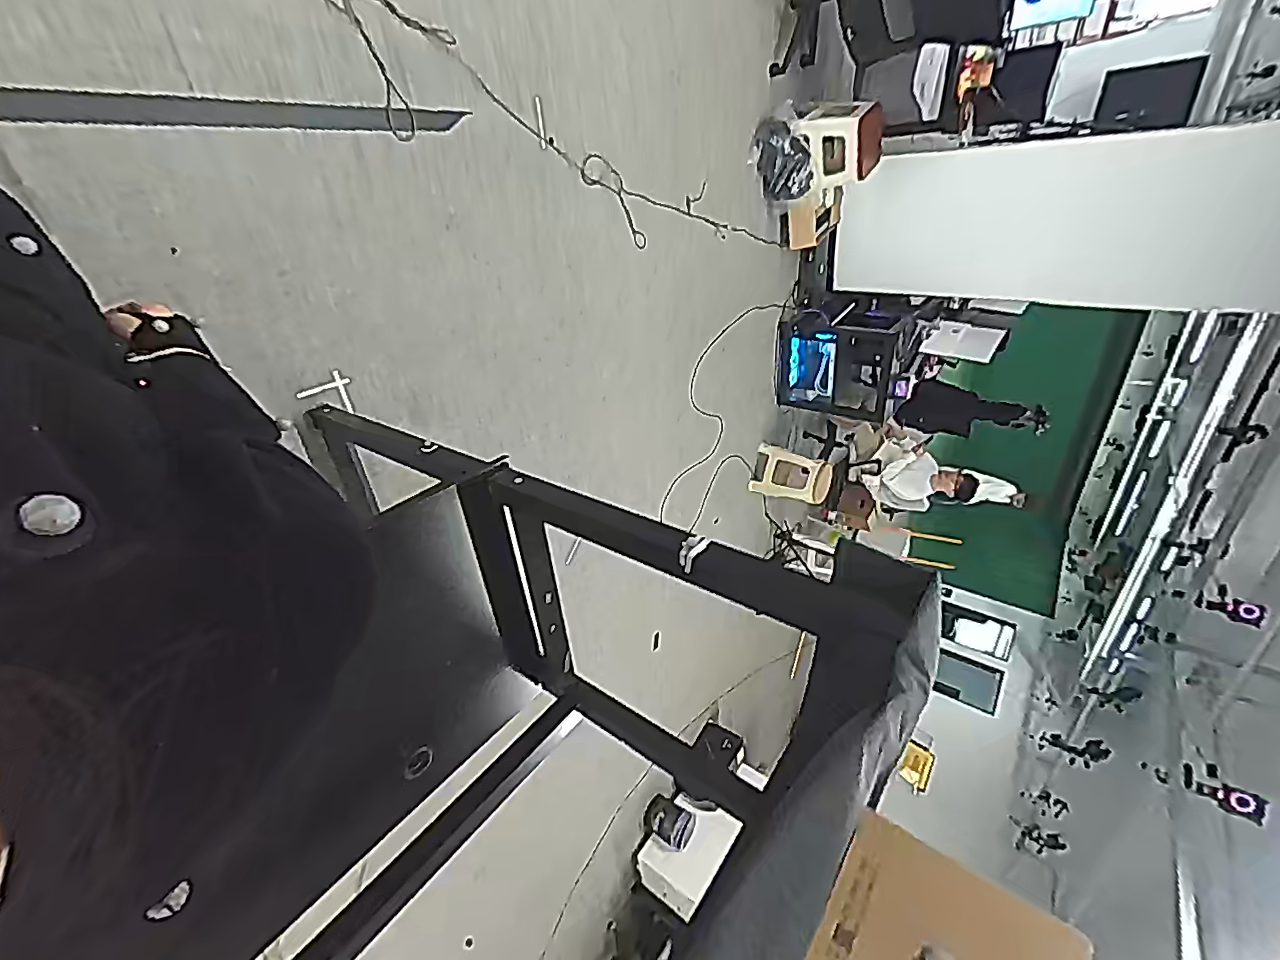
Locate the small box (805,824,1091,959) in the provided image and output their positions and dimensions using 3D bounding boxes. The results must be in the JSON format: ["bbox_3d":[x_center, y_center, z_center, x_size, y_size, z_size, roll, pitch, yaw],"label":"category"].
[{"bbox_3d":[0.230,0.426,0.439,0.168,0.176,0.179,-39,135,-38],"label":"small box"}]
